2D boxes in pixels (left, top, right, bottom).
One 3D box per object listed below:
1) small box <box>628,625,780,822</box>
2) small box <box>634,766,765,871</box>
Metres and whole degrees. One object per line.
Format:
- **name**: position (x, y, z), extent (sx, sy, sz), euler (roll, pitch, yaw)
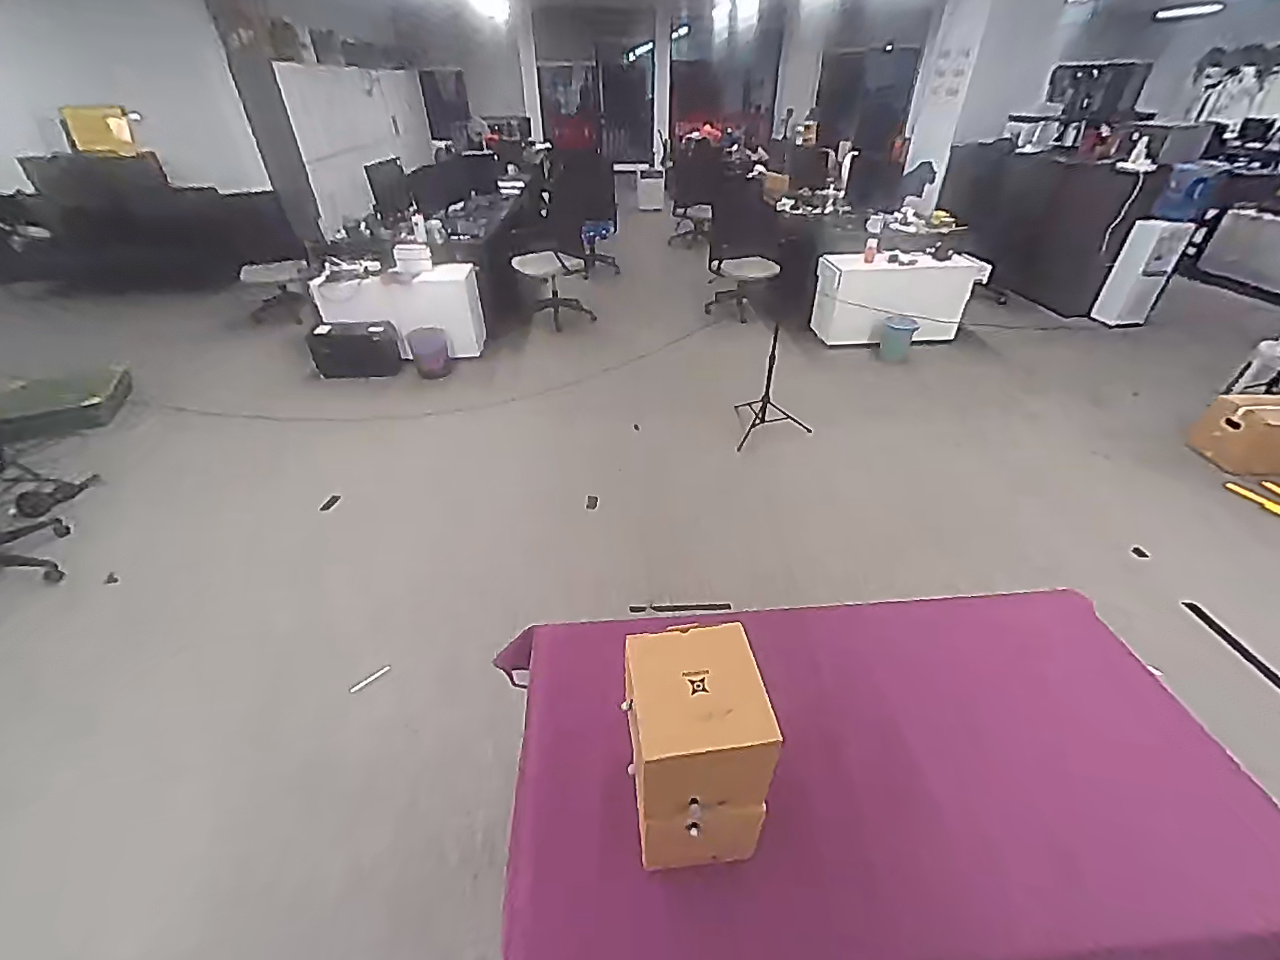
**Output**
- **small box**: position (0.072, 0.324, 0.730), extent (0.168, 0.176, 0.179), euler (-4, 36, -6)
- **small box**: position (0.078, 0.458, 0.825), extent (0.168, 0.176, 0.179), euler (-3, 36, -4)
